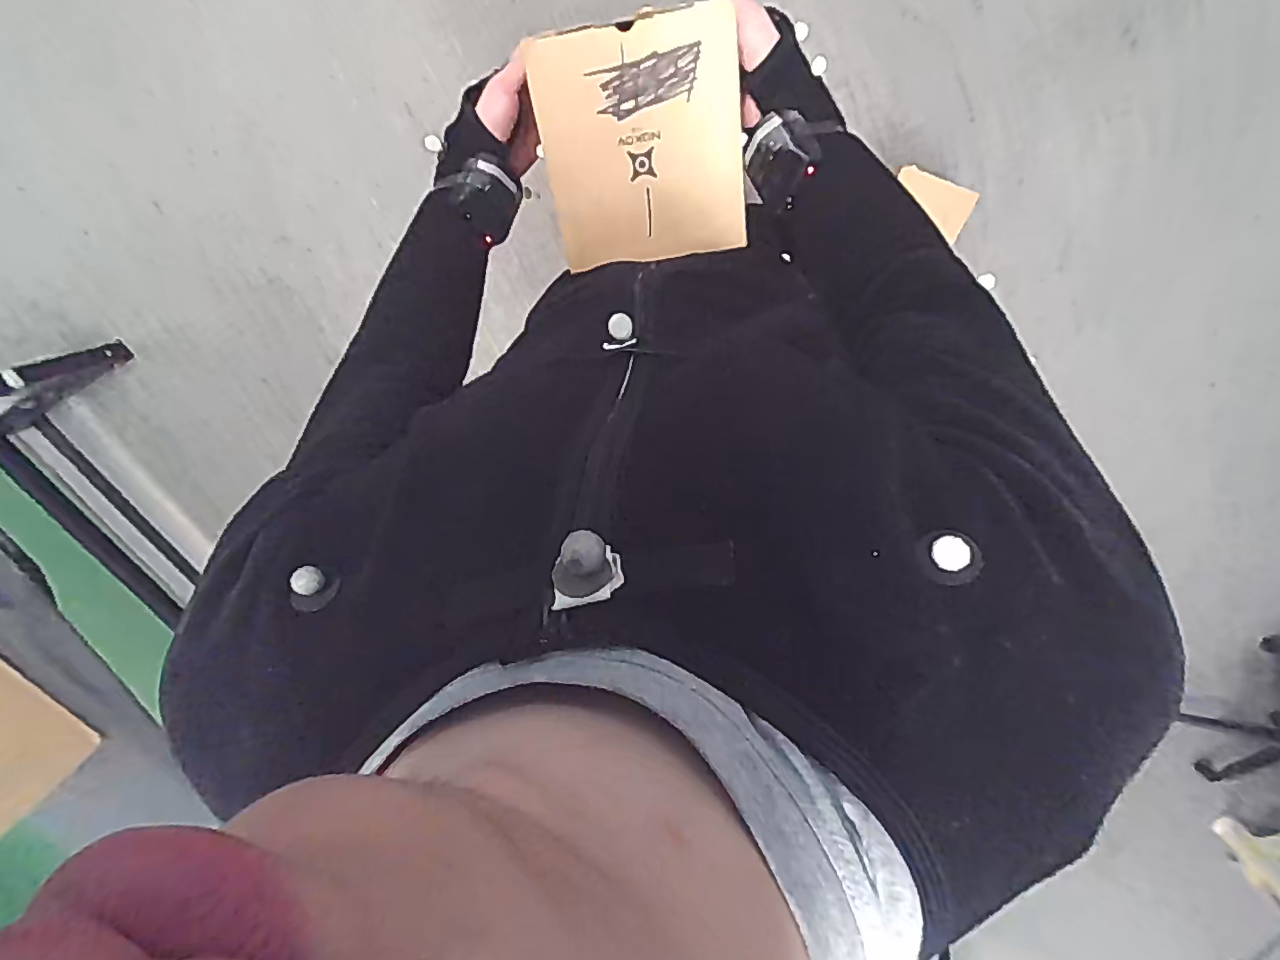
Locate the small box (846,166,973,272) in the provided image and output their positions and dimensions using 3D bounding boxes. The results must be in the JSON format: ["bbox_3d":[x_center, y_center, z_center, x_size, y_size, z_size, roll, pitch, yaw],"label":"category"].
[{"bbox_3d":[0.597,-0.590,1.229,0.179,0.176,0.168,18,118,-4],"label":"small box"}]
